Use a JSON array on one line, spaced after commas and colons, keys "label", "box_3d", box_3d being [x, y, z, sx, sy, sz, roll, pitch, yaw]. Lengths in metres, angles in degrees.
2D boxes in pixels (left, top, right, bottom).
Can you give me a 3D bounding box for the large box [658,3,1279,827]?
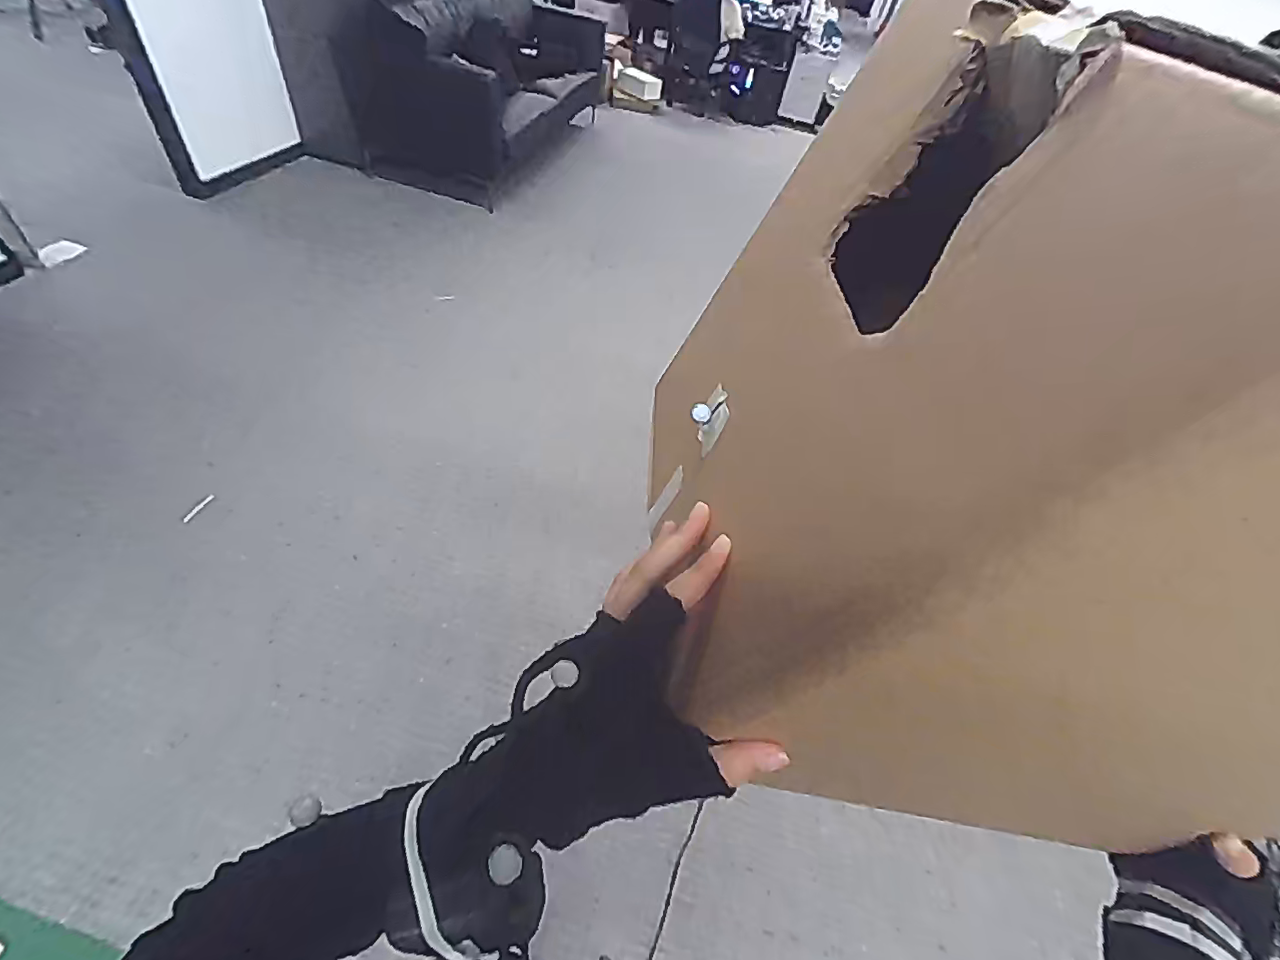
[{"label": "large box", "box_3d": [0.256, 0.004, 0.352, 0.408, 0.320, 0.320, 20, 45, -19]}]
